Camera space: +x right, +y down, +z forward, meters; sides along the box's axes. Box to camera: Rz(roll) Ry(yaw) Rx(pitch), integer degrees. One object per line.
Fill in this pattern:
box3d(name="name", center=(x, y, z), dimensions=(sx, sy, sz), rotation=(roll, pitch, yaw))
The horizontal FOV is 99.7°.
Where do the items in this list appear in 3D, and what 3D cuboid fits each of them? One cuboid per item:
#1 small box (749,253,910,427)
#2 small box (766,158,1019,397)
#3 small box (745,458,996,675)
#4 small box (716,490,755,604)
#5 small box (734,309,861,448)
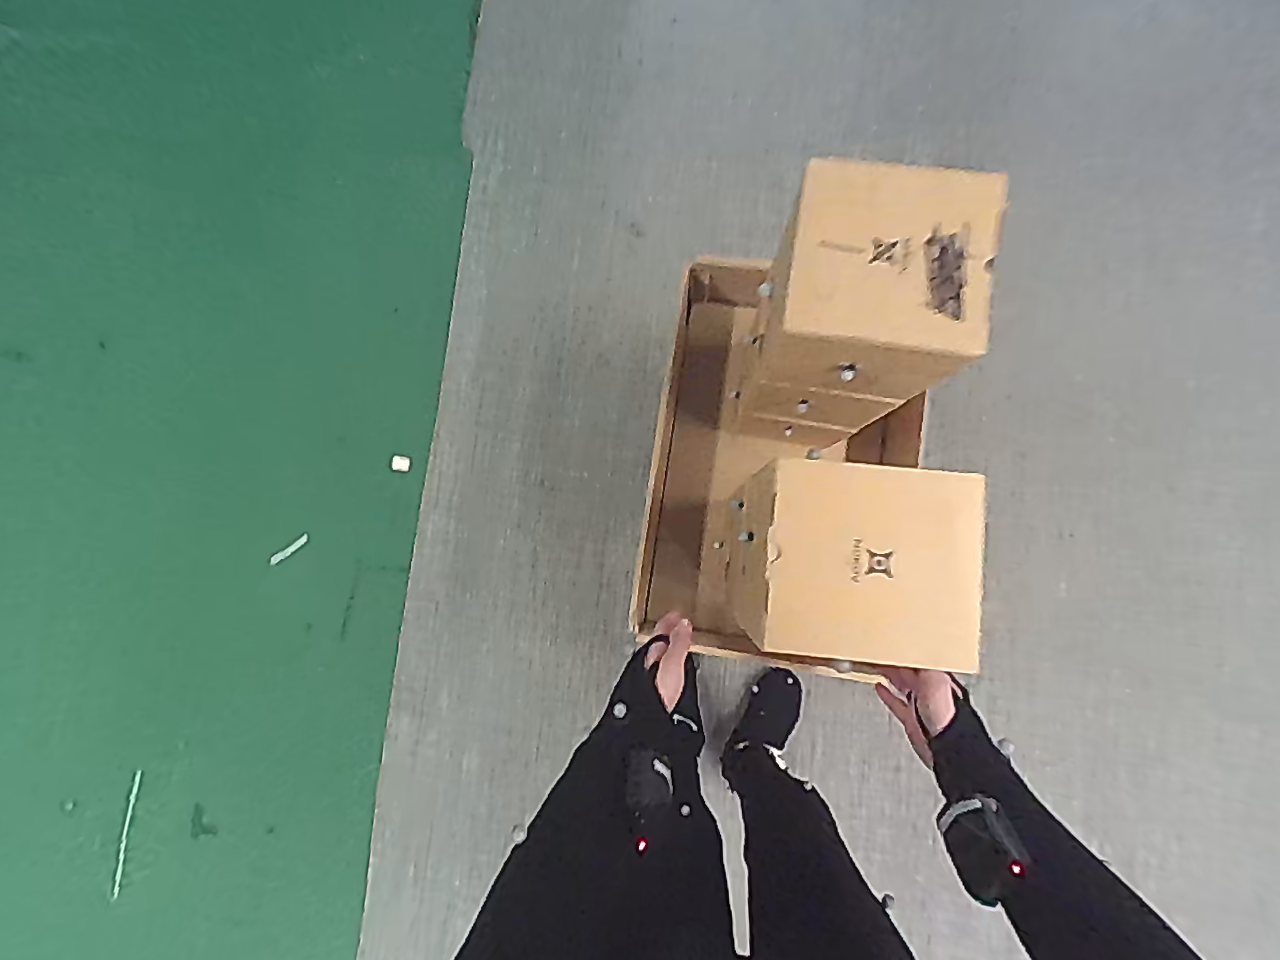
box3d(name="small box", center=(0.250, -0.174, 0.721), dimensions=(0.179, 0.176, 0.168), rotation=(11, 86, 6))
box3d(name="small box", center=(0.241, -0.190, 0.557), dimensions=(0.179, 0.176, 0.168), rotation=(10, 86, 5))
box3d(name="small box", center=(0.207, 0.077, 0.528), dimensions=(0.179, 0.176, 0.168), rotation=(5, 84, 4))
box3d(name="small box", center=(0.223, 0.114, 0.852), dimensions=(0.179, 0.176, 0.168), rotation=(8, 83, 4))
box3d(name="small box", center=(0.258, -0.156, 0.883), dimensions=(0.179, 0.176, 0.168), rotation=(12, 85, 4))
